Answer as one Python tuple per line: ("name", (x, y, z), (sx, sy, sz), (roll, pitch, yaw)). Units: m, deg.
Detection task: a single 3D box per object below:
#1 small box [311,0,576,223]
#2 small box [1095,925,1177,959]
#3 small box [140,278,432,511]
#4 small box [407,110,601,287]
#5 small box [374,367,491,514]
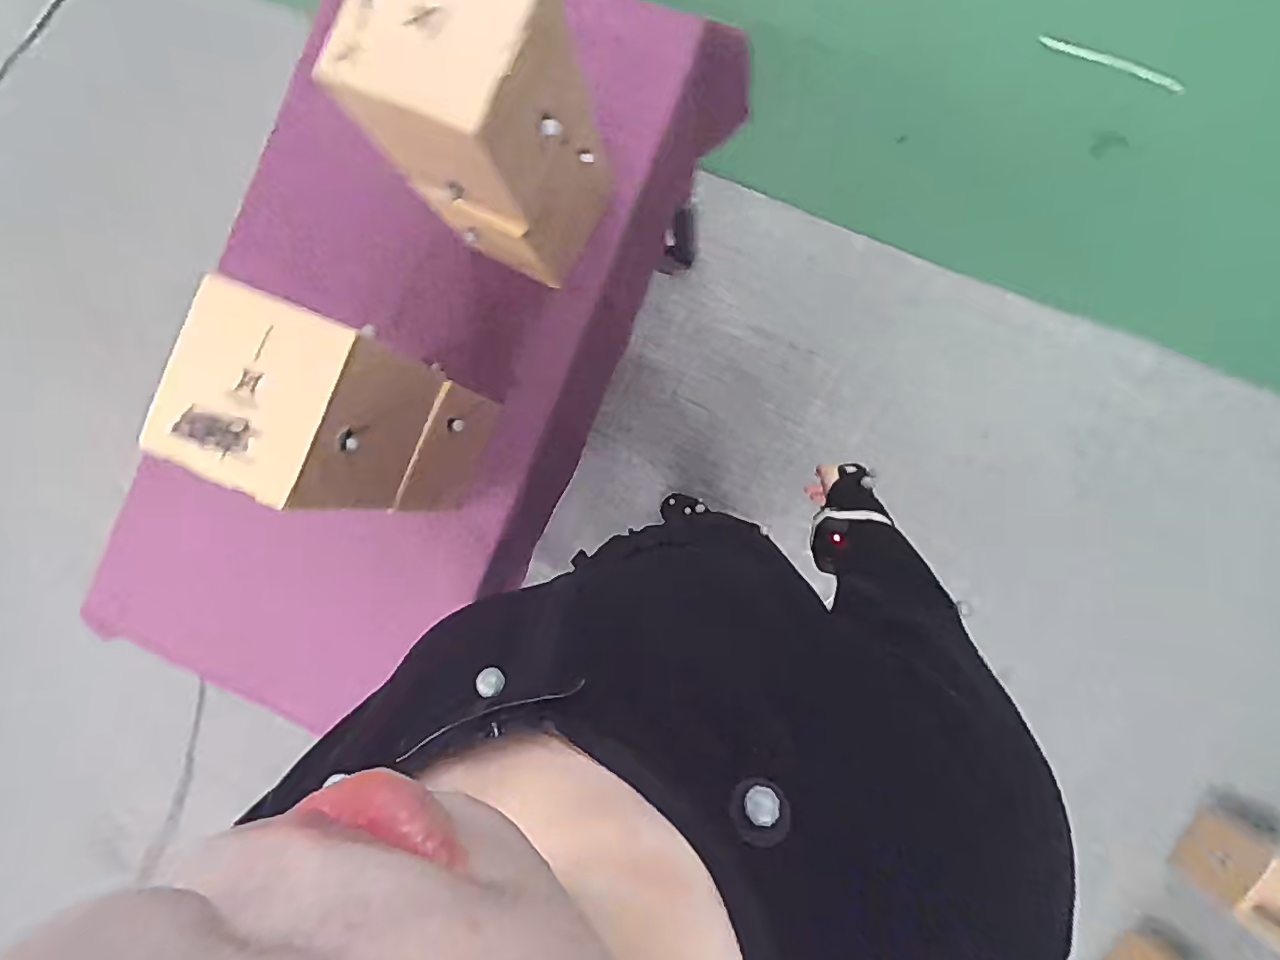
("small box", (-0.186, -0.405, 0.571), (0.179, 0.176, 0.168), (25, 90, 7))
("small box", (1.208, 1.198, 1.246), (0.168, 0.176, 0.179), (41, 93, 7))
("small box", (-0.353, -0.076, 0.574), (0.168, 0.176, 0.179), (22, 89, 7))
("small box", (-0.168, -0.395, 0.734), (0.168, 0.176, 0.179), (29, 91, 7))
("small box", (-0.327, -0.067, 0.737), (0.168, 0.176, 0.179), (25, 91, 8))
